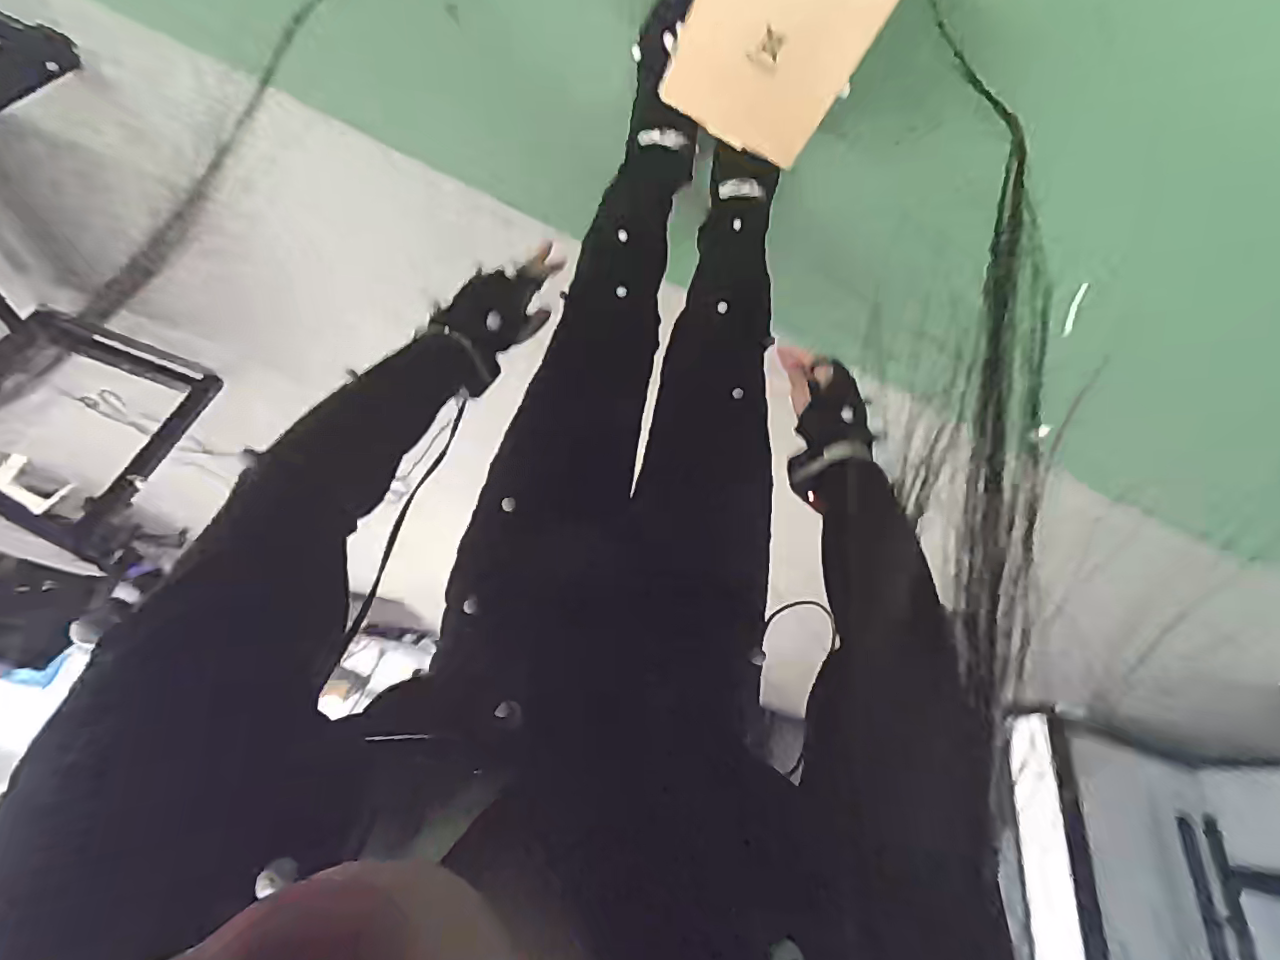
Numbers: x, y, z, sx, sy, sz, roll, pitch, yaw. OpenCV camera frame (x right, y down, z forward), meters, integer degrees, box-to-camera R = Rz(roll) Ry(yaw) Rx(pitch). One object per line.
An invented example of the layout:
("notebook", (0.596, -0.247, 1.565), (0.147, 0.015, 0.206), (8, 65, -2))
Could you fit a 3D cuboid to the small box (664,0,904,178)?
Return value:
("small box", (0.144, -0.476, 0.571), (0.168, 0.176, 0.179), (22, 147, -13))
